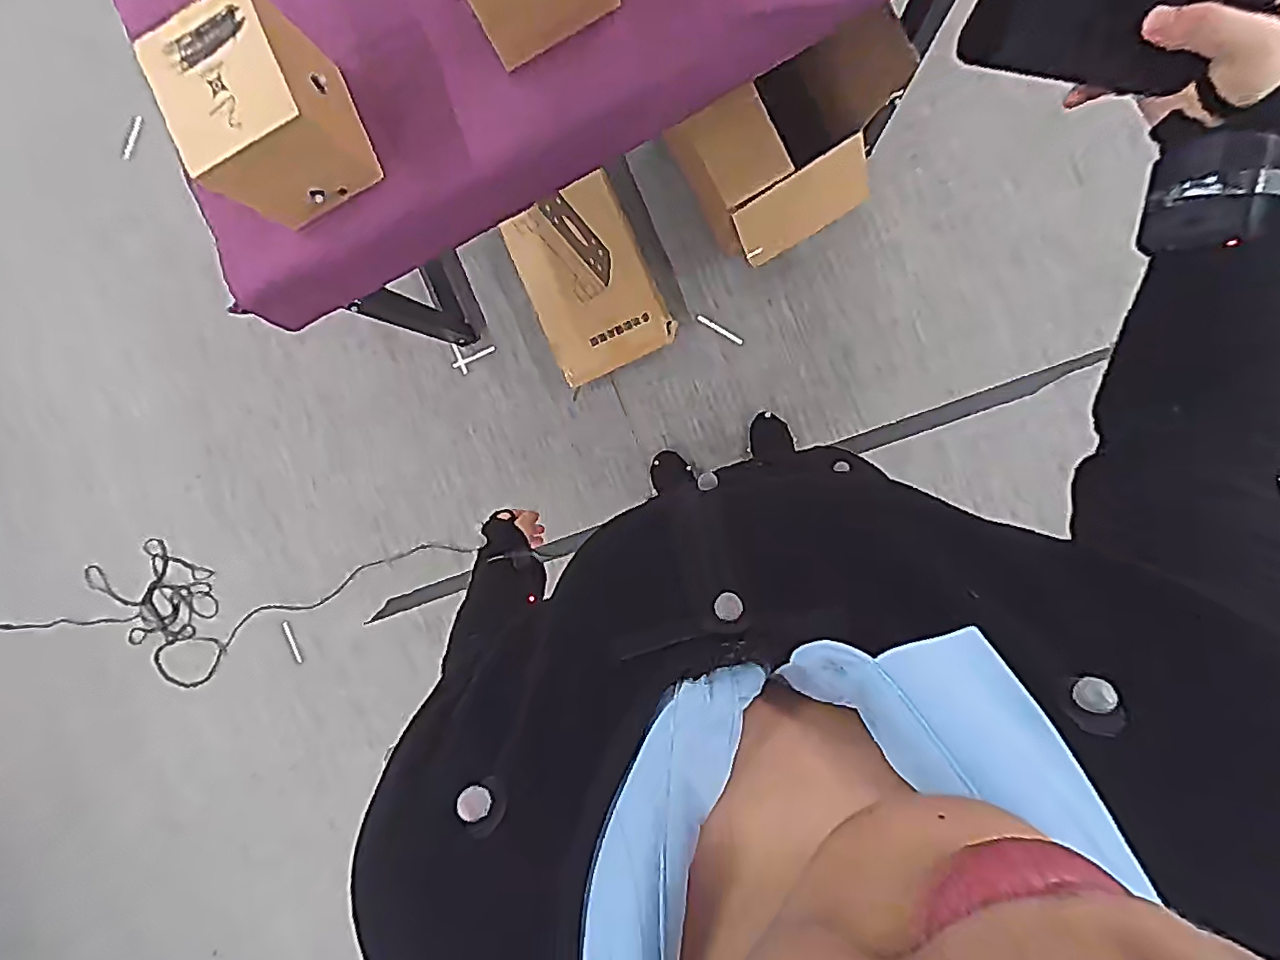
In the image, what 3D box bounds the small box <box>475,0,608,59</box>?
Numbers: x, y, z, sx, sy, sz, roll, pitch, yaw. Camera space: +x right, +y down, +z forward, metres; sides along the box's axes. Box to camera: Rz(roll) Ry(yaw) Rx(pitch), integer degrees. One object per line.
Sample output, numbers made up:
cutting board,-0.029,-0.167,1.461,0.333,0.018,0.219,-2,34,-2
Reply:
small box,-0.140,-0.666,0.642,0.179,0.176,0.168,-23,90,9
